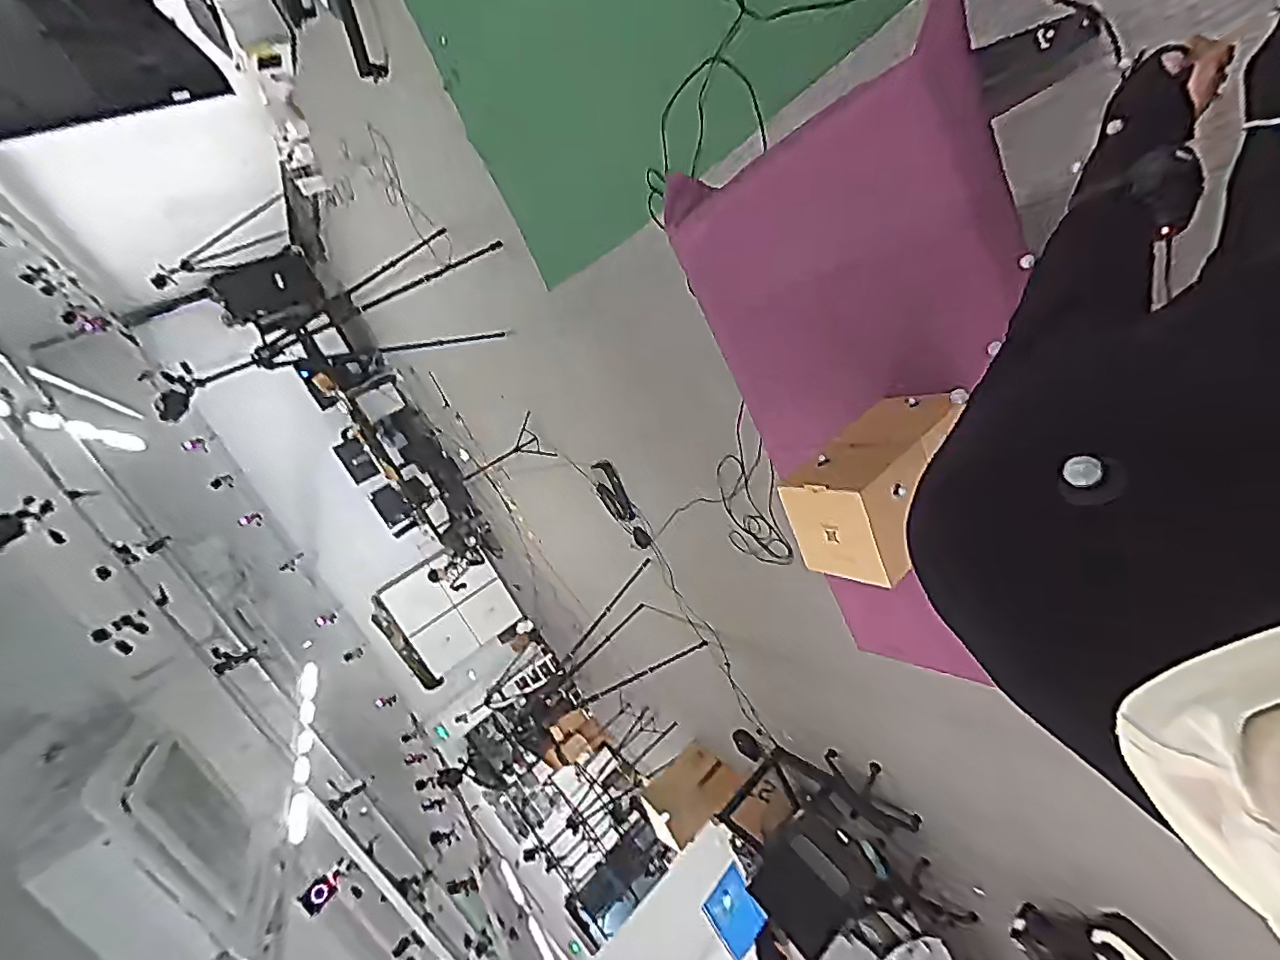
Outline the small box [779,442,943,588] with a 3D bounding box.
[{"bbox_3d":[0.367,0.046,0.897,0.168,0.176,0.179,5,124,58],"label":"small box"}]
